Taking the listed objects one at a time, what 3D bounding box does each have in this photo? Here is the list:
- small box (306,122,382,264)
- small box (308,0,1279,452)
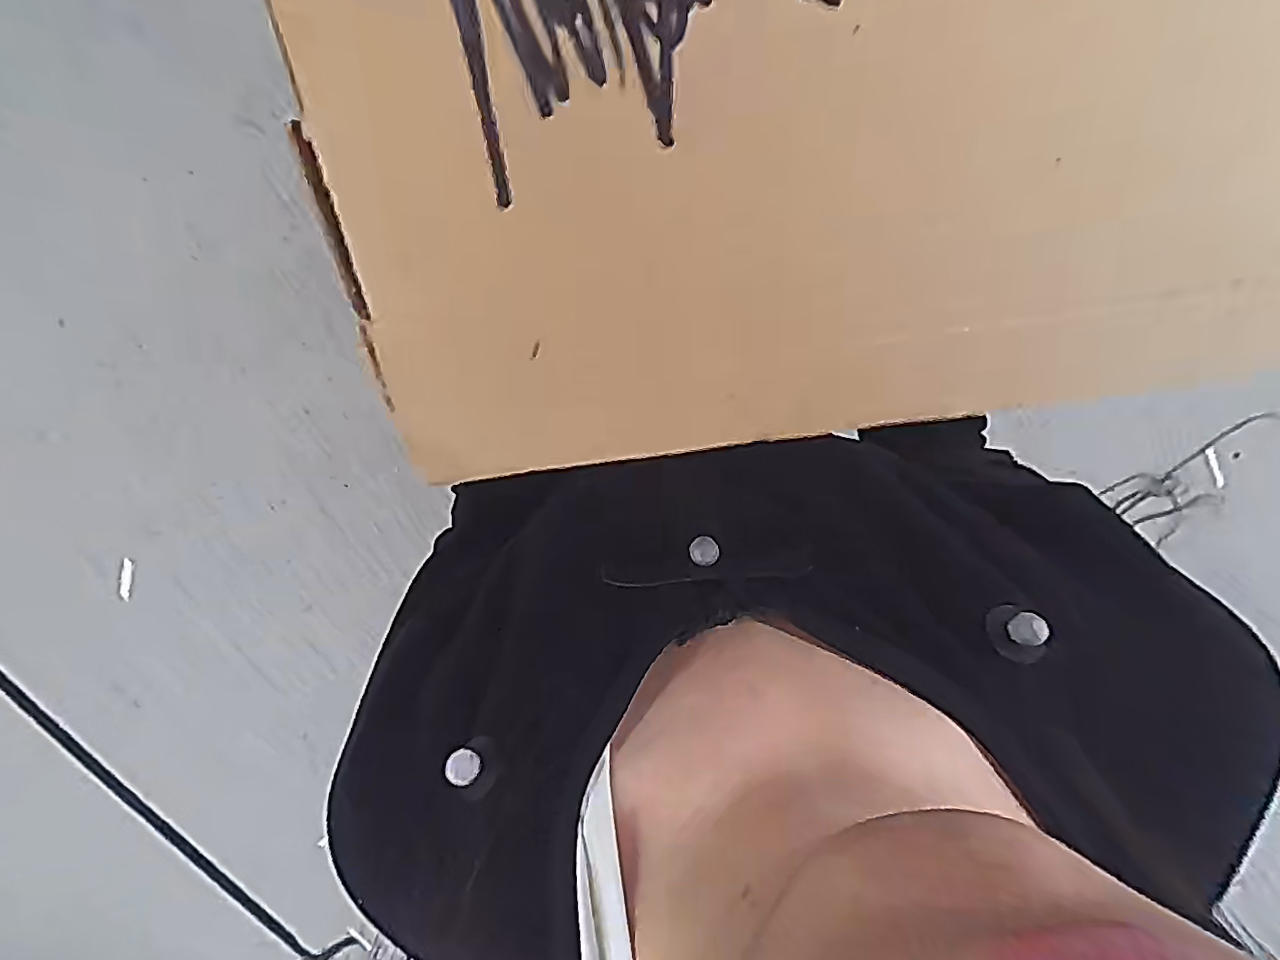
[{"bbox_3d":[-0.168,-0.263,0.537,0.168,0.176,0.179,-30,102,4],"label":"small box"},{"bbox_3d":[0.036,-0.120,0.140,0.179,0.176,0.168,-6,116,1],"label":"small box"}]
